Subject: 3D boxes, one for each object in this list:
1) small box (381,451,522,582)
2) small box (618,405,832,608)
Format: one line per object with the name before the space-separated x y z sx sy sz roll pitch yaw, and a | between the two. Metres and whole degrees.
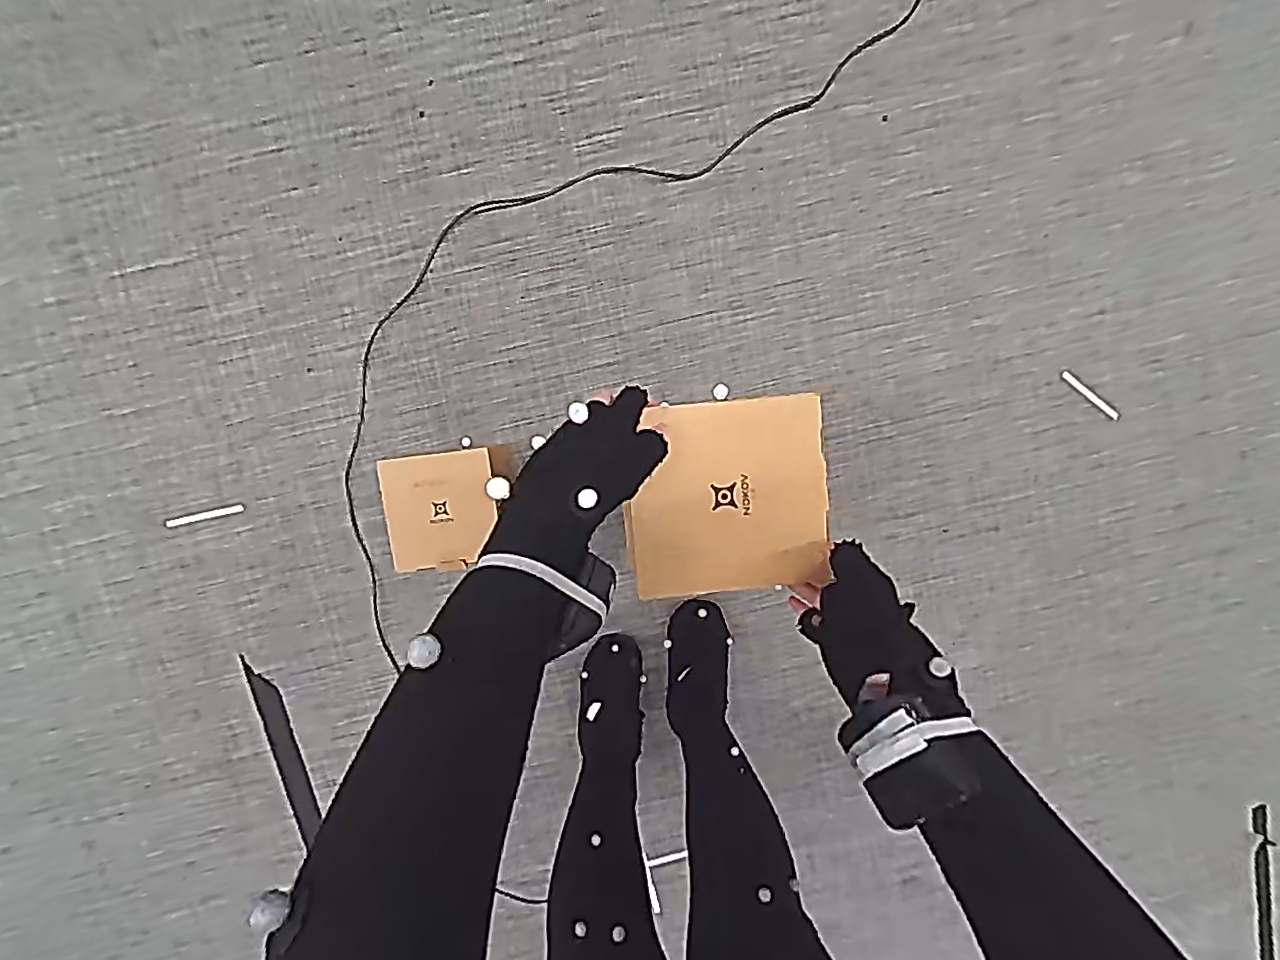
small box | -0.296 0.051 0.886 0.168 0.176 0.179 -7 96 -2
small box | 0.070 0.020 0.545 0.179 0.176 0.168 -6 93 -5
